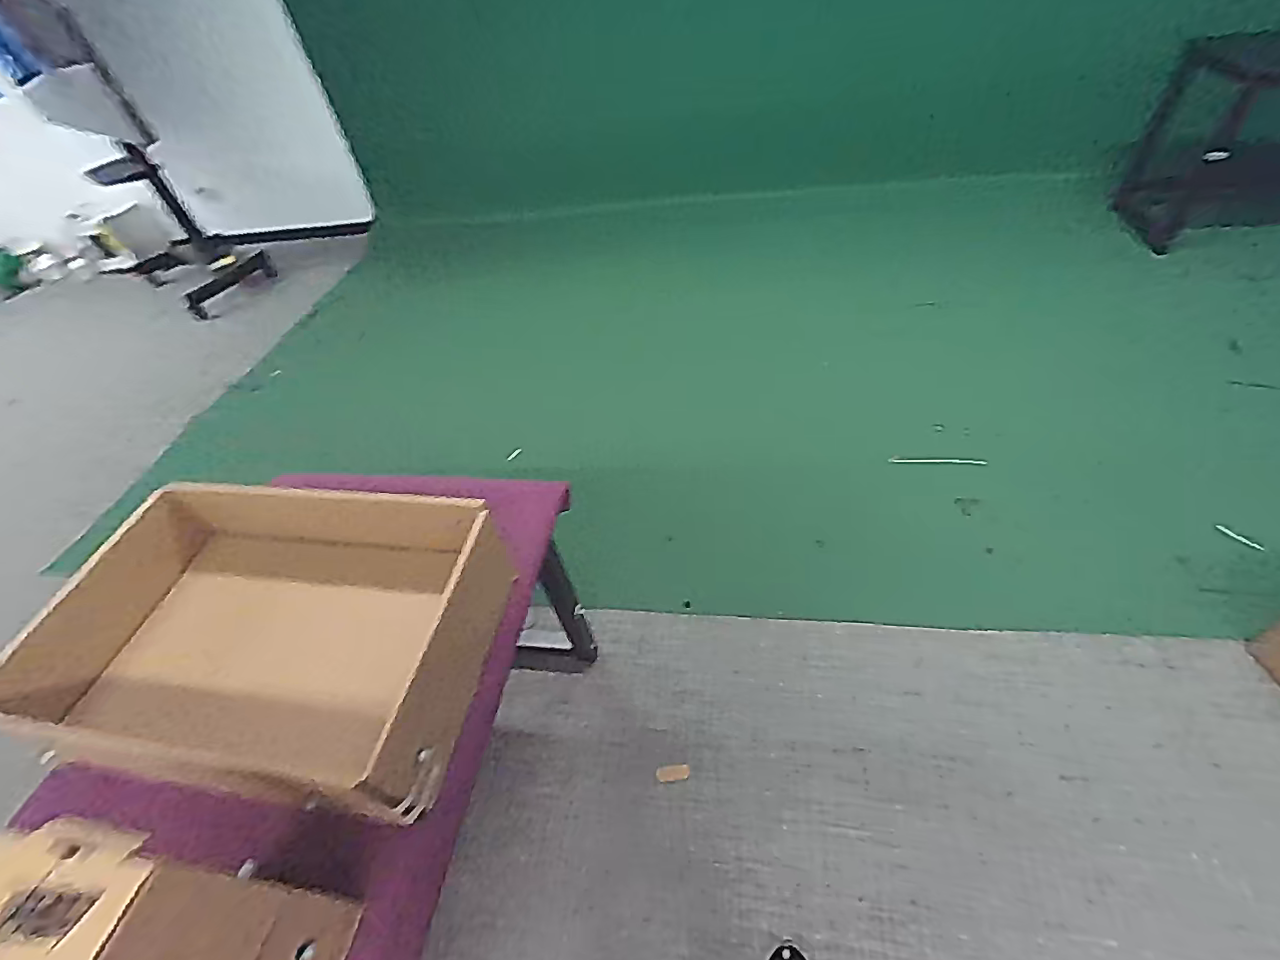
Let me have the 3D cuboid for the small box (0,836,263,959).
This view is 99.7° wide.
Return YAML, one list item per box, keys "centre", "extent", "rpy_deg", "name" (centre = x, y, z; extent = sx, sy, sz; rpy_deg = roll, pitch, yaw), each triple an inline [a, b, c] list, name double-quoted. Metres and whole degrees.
- centre: [-0.451, 0.414, 0.429]
  extent: [0.168, 0.176, 0.179]
  rpy_deg: [1, 48, 12]
  name: "small box"

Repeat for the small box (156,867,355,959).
- centre: [-0.438, 0.520, 0.553]
  extent: [0.179, 0.176, 0.168]
  rpy_deg: [1, 47, 13]
  name: "small box"
